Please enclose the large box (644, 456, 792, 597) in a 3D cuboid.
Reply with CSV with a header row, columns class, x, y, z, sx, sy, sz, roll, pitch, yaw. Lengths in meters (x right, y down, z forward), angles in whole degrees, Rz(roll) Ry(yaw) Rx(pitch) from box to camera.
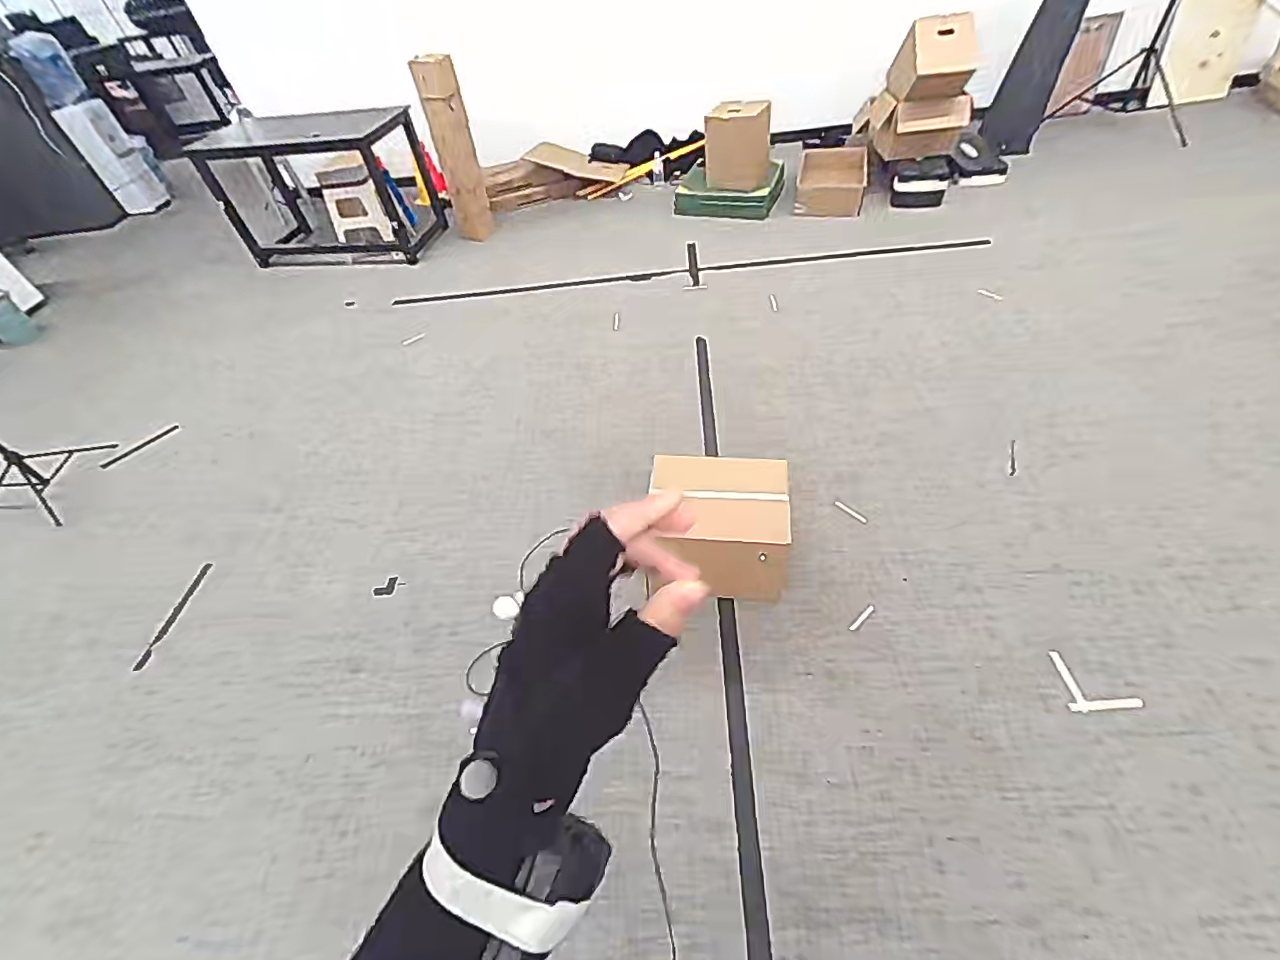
class,x,y,z,sx,sy,sz,roll,pitch,yaw
large box,0.240,0.145,1.662,0.408,0.320,0.320,2,48,9
